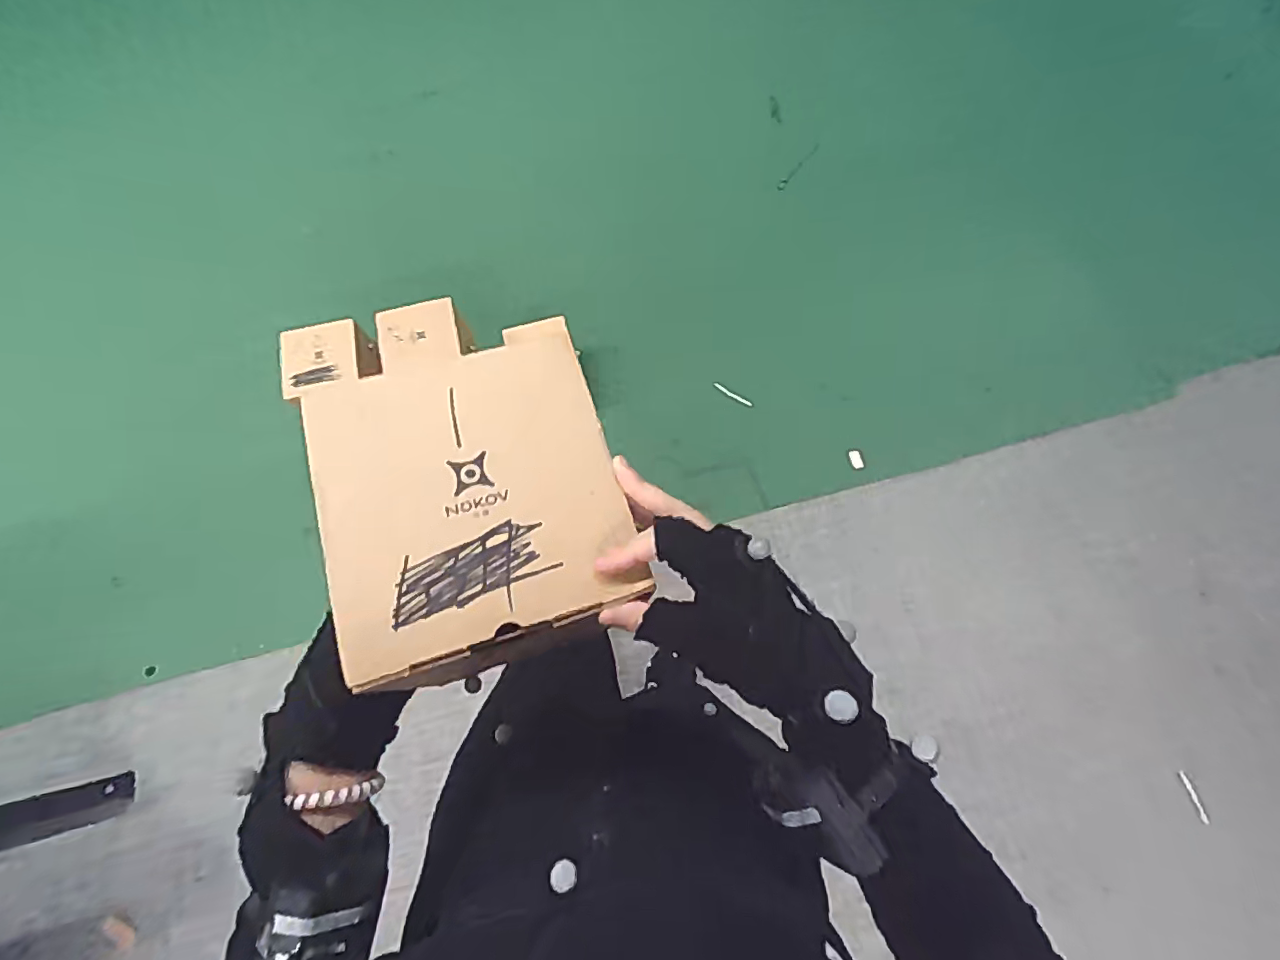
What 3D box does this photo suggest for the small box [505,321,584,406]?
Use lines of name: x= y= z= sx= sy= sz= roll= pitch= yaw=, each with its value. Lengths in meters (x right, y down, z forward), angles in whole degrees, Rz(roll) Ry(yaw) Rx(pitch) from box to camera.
small box: x=-0.255 y=-0.297 z=1.465 sx=0.168 sy=0.176 sz=0.179 roll=-15 pitch=74 yaw=-4

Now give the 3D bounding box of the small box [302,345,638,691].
small box: x=-0.108 y=0.037 z=0.394 sx=0.168 sy=0.176 sz=0.179 roll=-17 pitch=71 yaw=-11

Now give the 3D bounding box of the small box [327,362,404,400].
small box: x=-0.707 y=-0.188 z=1.443 sx=0.168 sy=0.176 sz=0.179 roll=-11 pitch=74 yaw=-2
